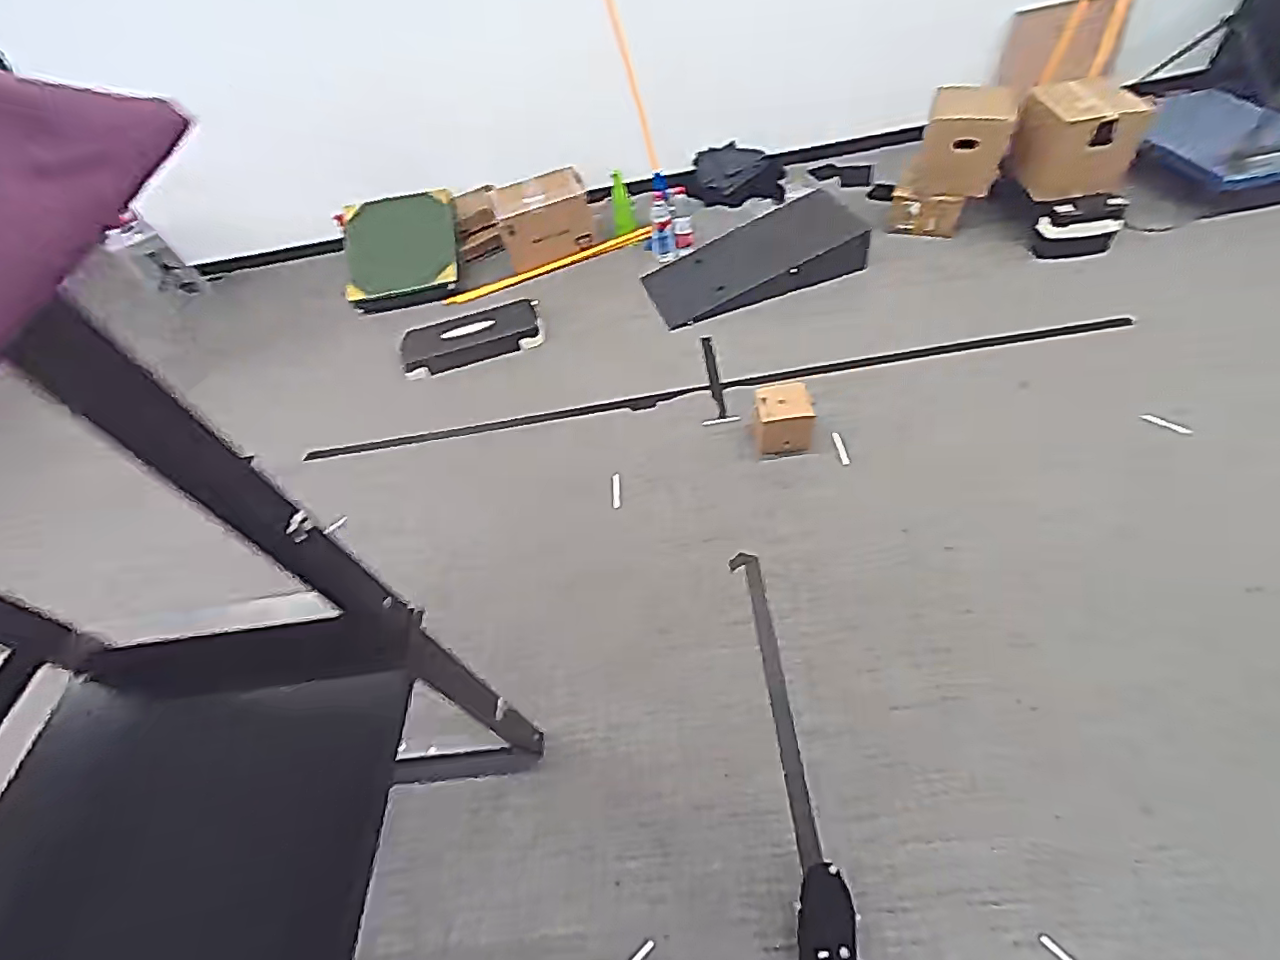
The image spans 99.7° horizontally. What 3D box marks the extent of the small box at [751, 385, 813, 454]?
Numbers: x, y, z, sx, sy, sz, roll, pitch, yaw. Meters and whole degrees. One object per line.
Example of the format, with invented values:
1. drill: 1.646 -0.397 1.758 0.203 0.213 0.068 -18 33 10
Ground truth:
1. small box: 0.492 -0.210 1.893 0.179 0.176 0.168 -6 50 5
